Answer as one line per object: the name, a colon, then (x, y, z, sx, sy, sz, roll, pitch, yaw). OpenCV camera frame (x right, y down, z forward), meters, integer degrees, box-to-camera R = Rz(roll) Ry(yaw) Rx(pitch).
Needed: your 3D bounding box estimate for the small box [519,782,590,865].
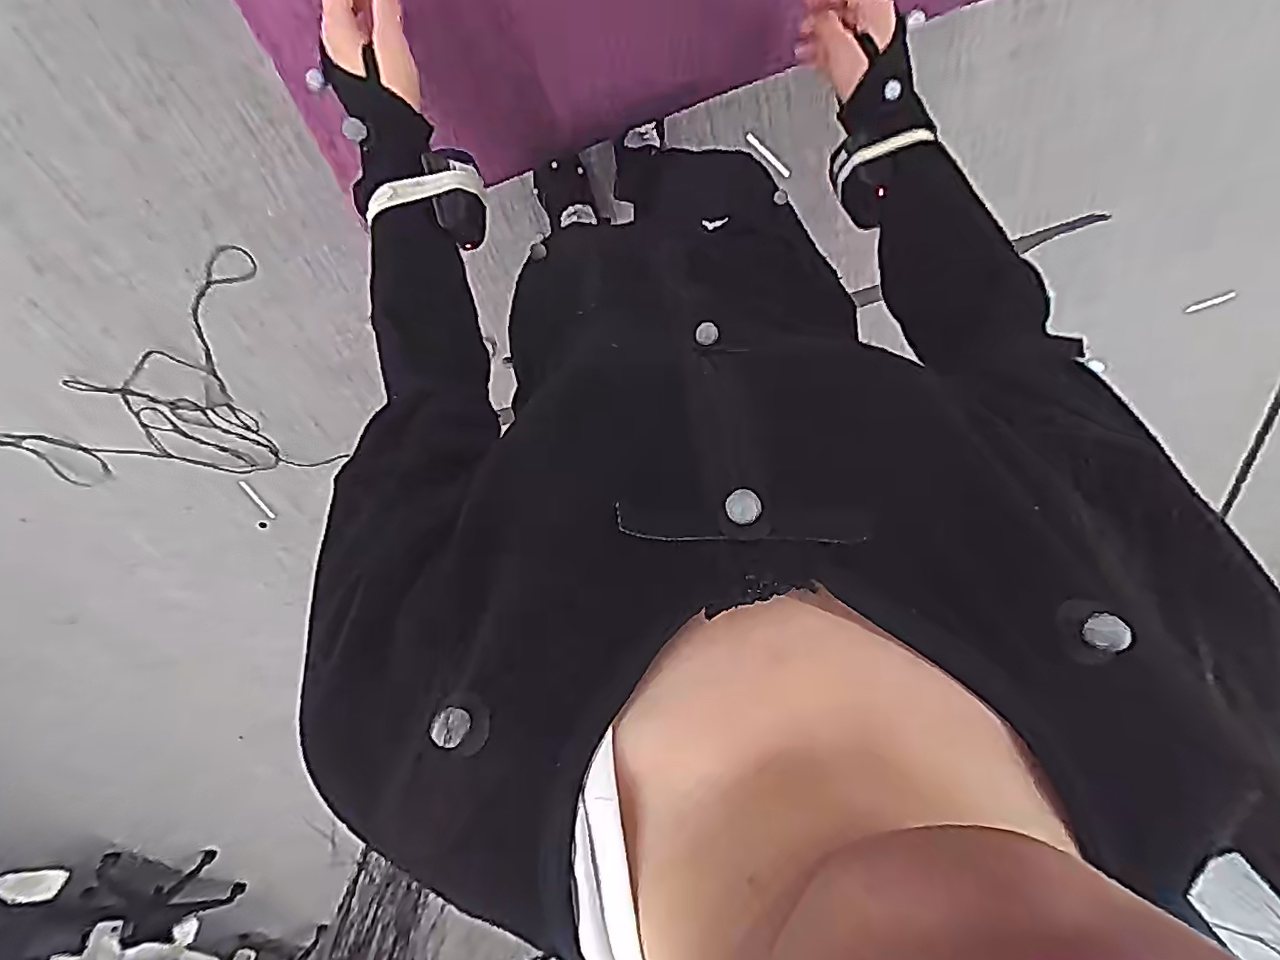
small box: (-0.277, 1.114, 1.755, 0.168, 0.176, 0.179, 23, 118, -24)
